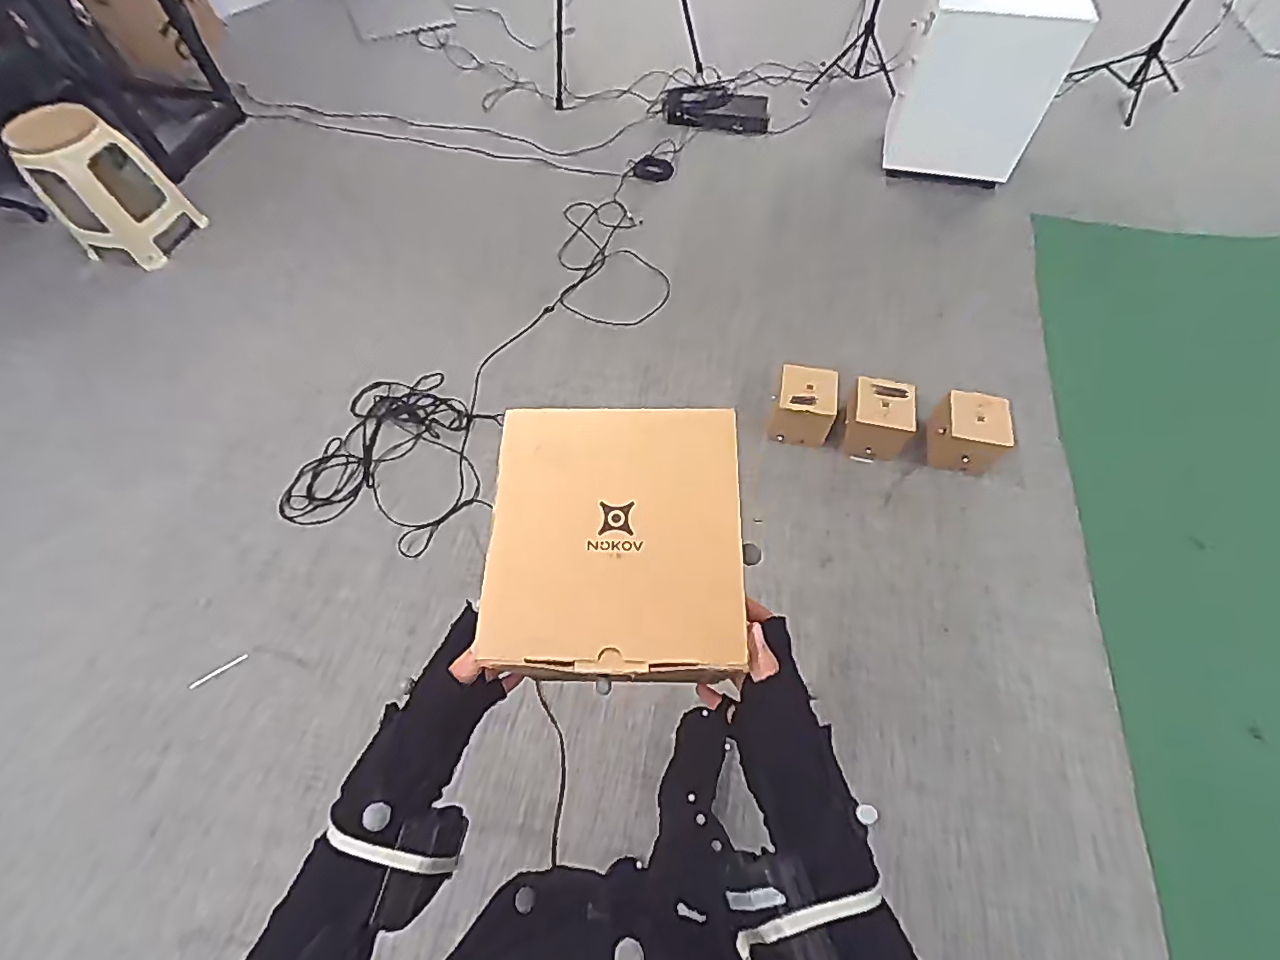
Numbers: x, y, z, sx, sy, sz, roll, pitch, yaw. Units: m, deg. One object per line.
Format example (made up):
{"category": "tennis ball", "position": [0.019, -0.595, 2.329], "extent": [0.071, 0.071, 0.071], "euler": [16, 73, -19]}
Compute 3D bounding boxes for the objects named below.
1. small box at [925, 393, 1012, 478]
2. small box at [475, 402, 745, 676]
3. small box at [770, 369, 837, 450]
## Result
{"category": "small box", "position": [0.970, -0.128, 1.610], "extent": [0.168, 0.176, 0.179], "euler": [11, 60, 7]}
{"category": "small box", "position": [-0.015, 0.055, 0.428], "extent": [0.168, 0.176, 0.179], "euler": [0, 67, 2]}
{"category": "small box", "position": [0.502, -0.215, 1.674], "extent": [0.168, 0.176, 0.179], "euler": [9, 59, 8]}
